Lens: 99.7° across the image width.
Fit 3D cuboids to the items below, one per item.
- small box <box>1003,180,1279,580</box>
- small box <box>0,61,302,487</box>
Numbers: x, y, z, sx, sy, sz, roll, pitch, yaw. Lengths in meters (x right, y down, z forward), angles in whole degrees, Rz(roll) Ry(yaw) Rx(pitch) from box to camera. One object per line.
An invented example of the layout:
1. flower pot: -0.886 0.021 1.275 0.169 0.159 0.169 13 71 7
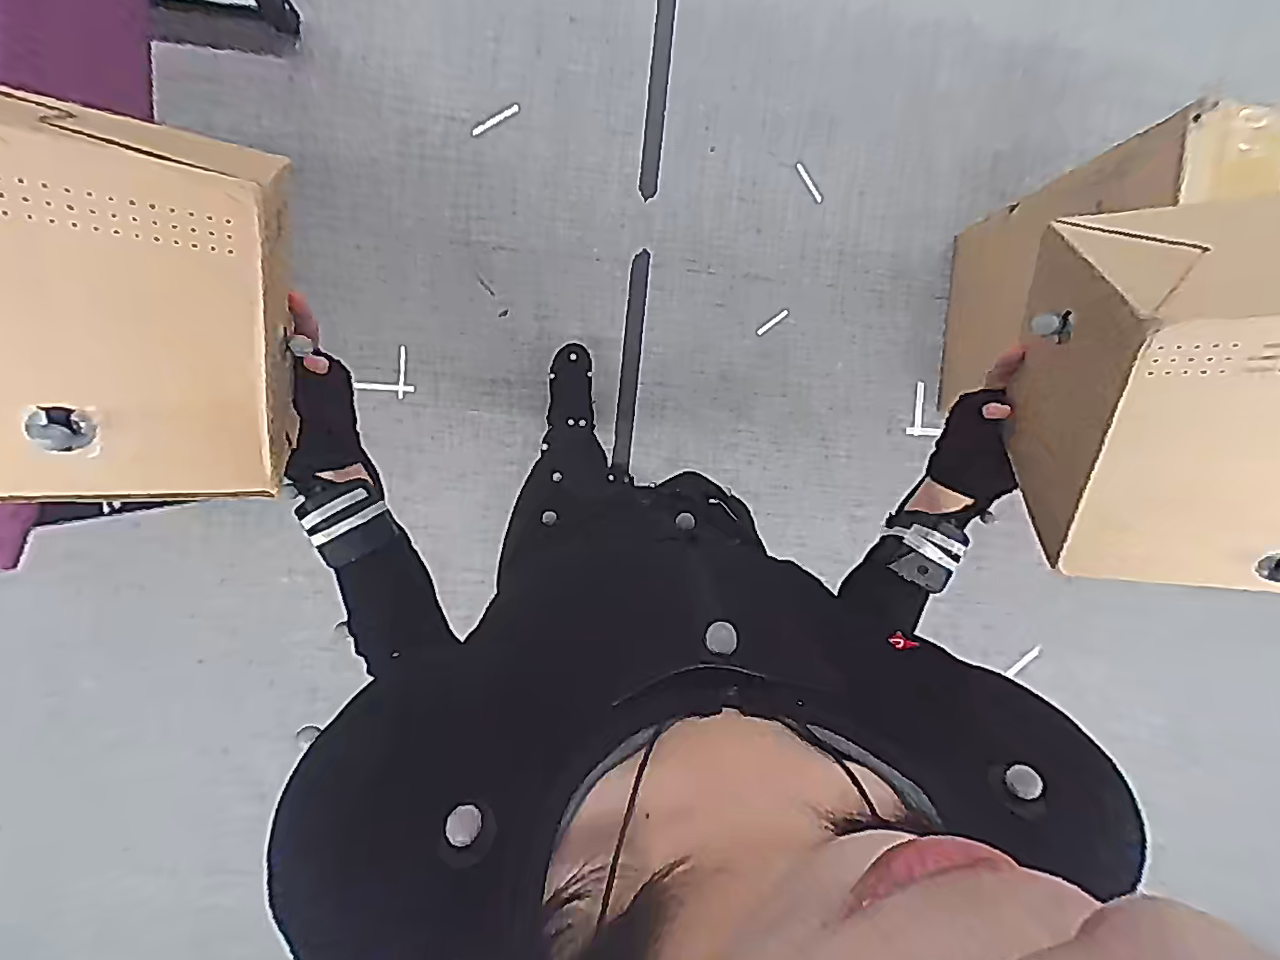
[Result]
1. small box: 0.339 -0.064 0.315 0.168 0.179 0.176 2 129 21
2. small box: -0.294 -0.110 0.290 0.179 0.168 0.176 1 120 -28
